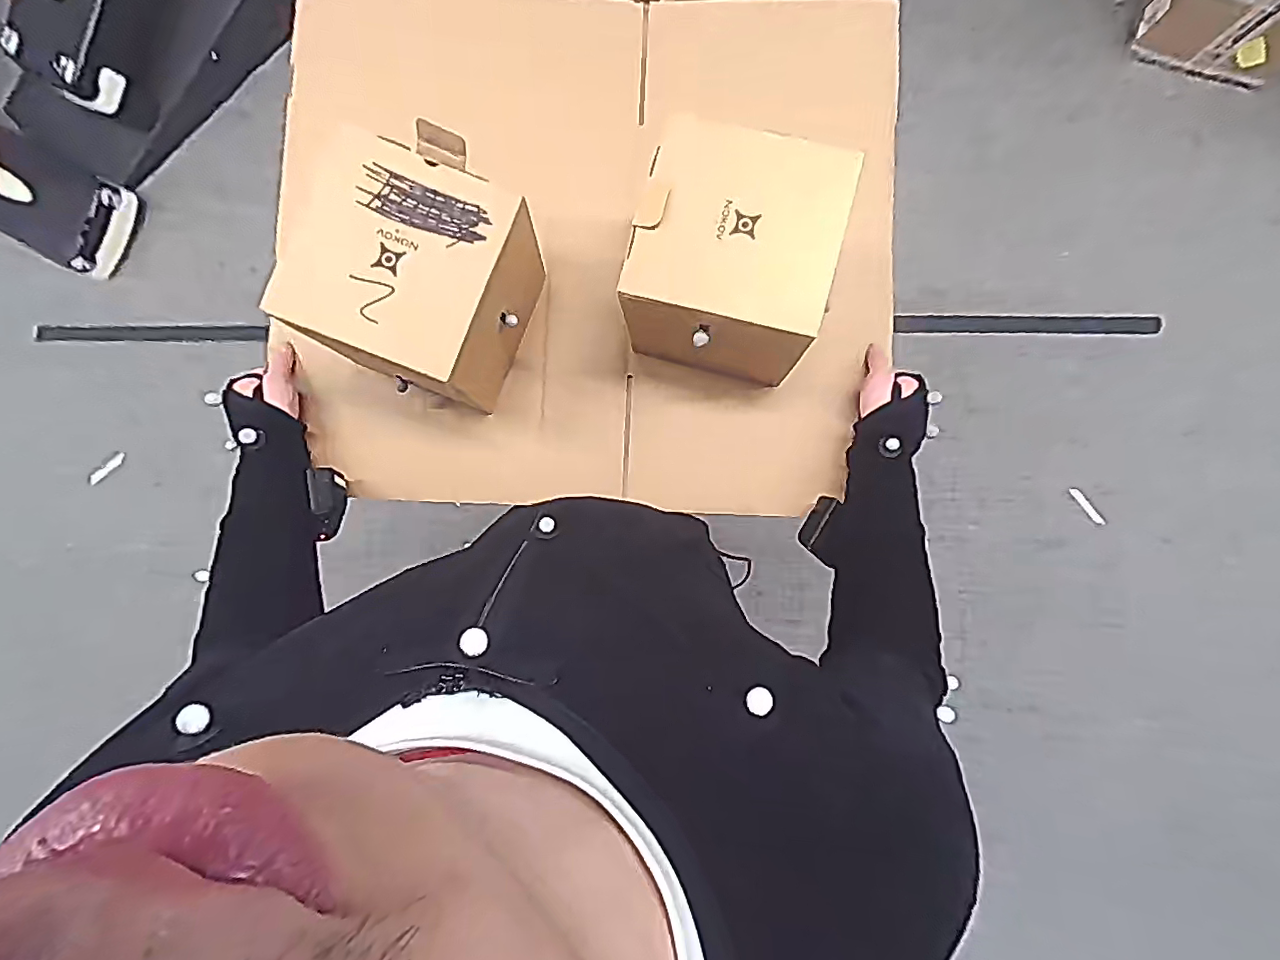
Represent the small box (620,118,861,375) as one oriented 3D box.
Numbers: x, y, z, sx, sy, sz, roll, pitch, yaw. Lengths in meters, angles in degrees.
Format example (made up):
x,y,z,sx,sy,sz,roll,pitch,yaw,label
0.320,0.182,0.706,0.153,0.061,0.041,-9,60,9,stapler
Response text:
x,y,z,sx,sy,sz,roll,pitch,yaw,label
0.093,-0.216,0.548,0.179,0.176,0.168,15,88,6,small box
